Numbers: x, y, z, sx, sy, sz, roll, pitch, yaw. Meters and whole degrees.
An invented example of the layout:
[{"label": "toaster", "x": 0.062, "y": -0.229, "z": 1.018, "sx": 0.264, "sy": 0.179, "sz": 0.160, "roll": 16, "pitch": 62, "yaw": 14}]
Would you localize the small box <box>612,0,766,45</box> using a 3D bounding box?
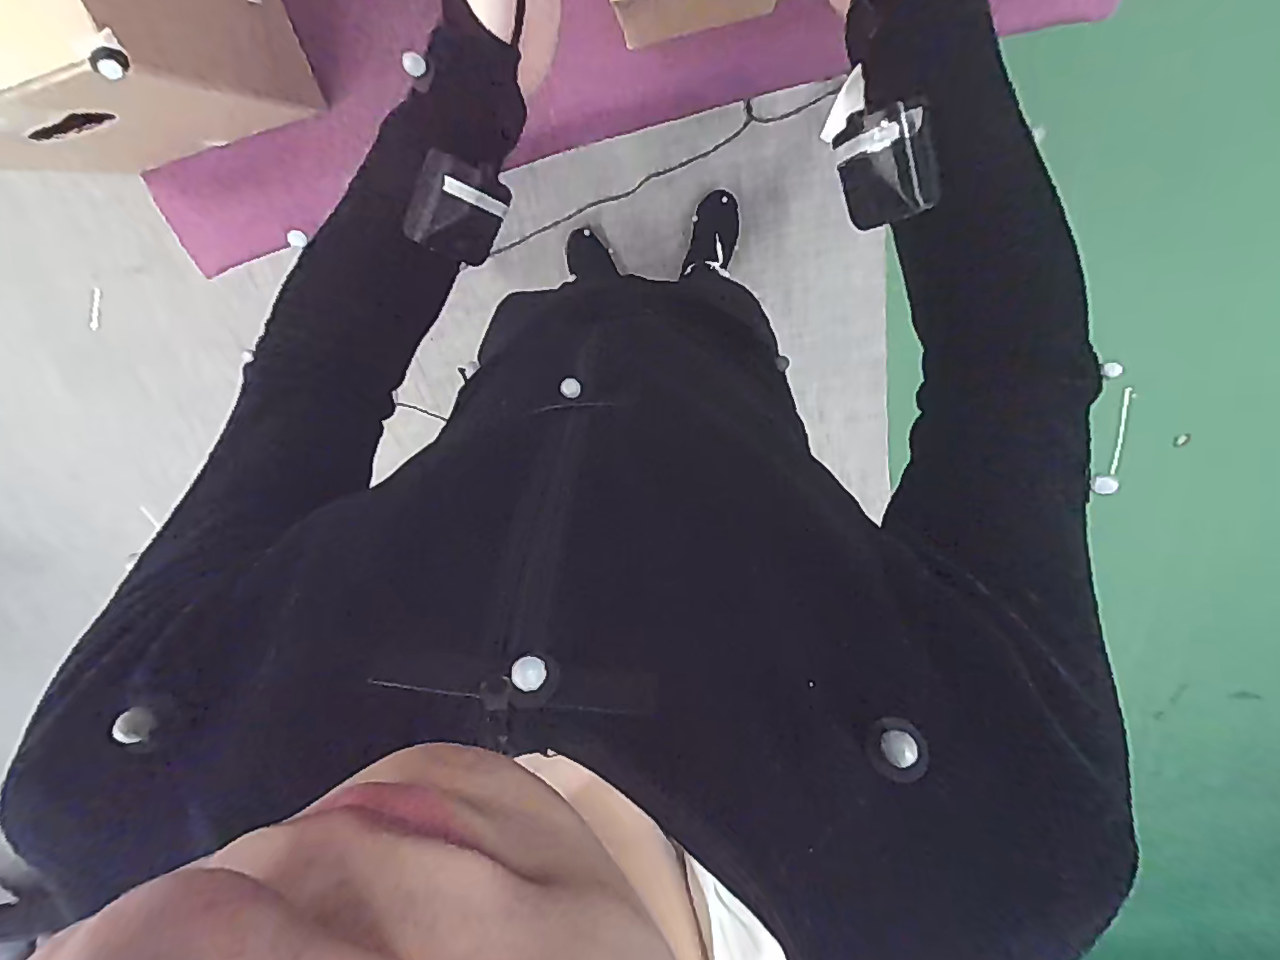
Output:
[{"label": "small box", "x": 0.045, "y": -0.563, "z": 0.529, "sx": 0.179, "sy": 0.176, "sz": 0.168, "roll": -9, "pitch": 115, "yaw": 8}]
